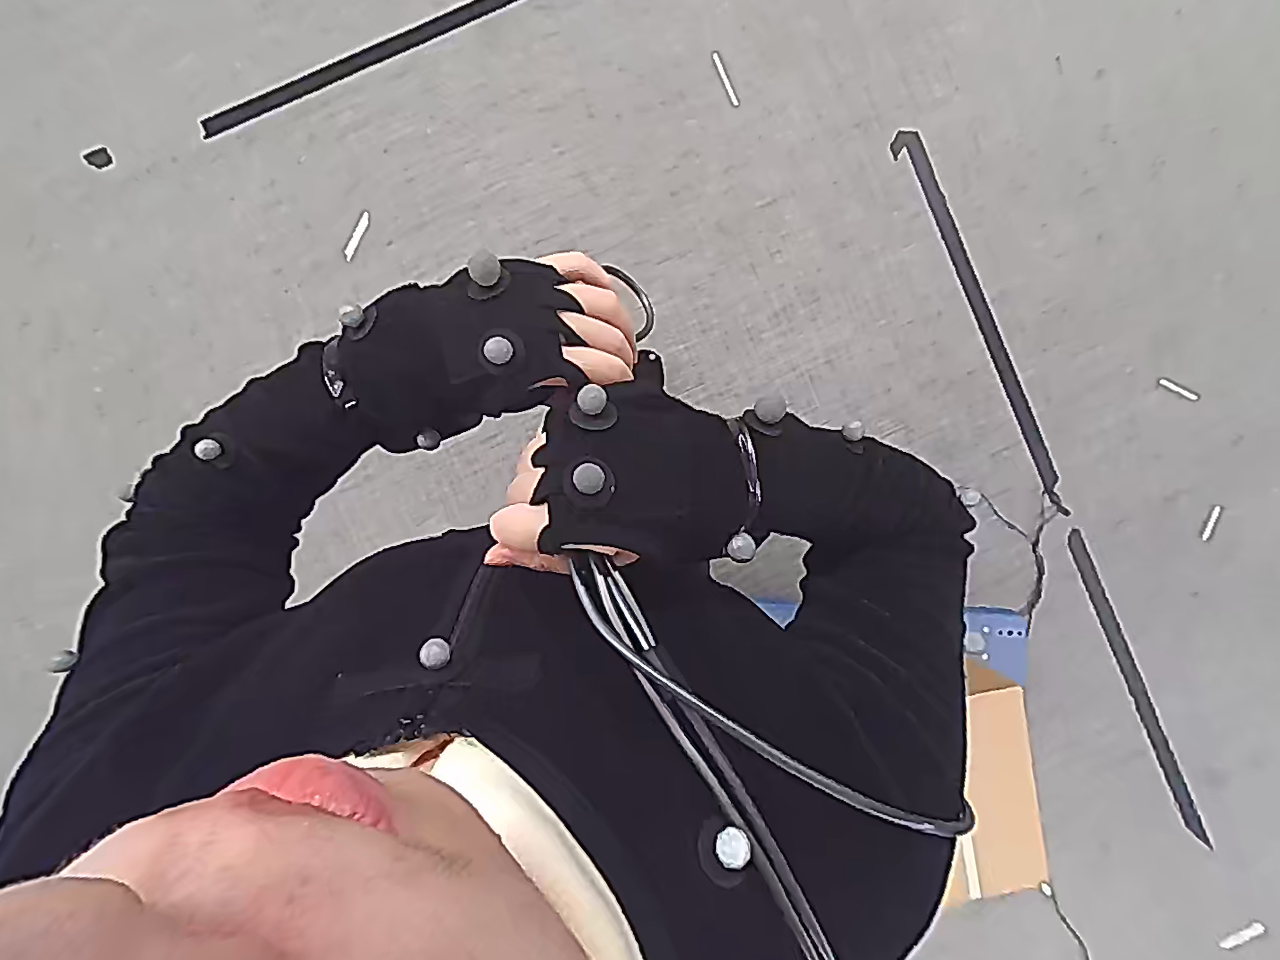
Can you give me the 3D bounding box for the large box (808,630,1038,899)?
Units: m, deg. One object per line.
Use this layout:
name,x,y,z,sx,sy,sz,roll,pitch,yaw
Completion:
large box,0.600,0.596,1.204,0.320,0.320,0.408,-9,93,-1
